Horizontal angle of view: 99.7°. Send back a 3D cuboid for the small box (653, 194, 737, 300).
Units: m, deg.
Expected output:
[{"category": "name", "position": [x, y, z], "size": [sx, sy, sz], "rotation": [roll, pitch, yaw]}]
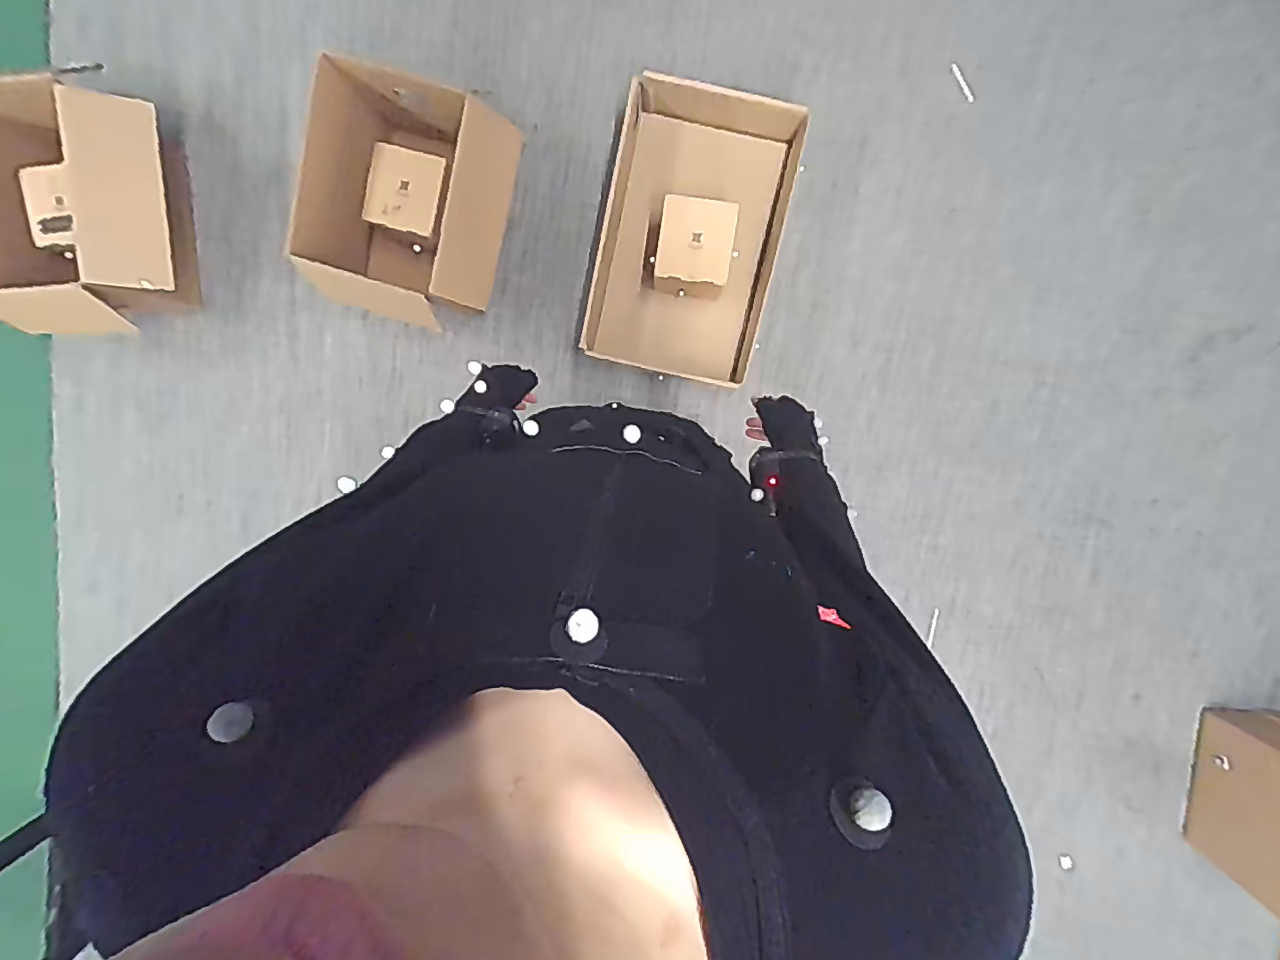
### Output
[{"category": "small box", "position": [0.121, -0.535, 1.263], "size": [0.168, 0.176, 0.179], "rotation": [8, 98, 1]}]
